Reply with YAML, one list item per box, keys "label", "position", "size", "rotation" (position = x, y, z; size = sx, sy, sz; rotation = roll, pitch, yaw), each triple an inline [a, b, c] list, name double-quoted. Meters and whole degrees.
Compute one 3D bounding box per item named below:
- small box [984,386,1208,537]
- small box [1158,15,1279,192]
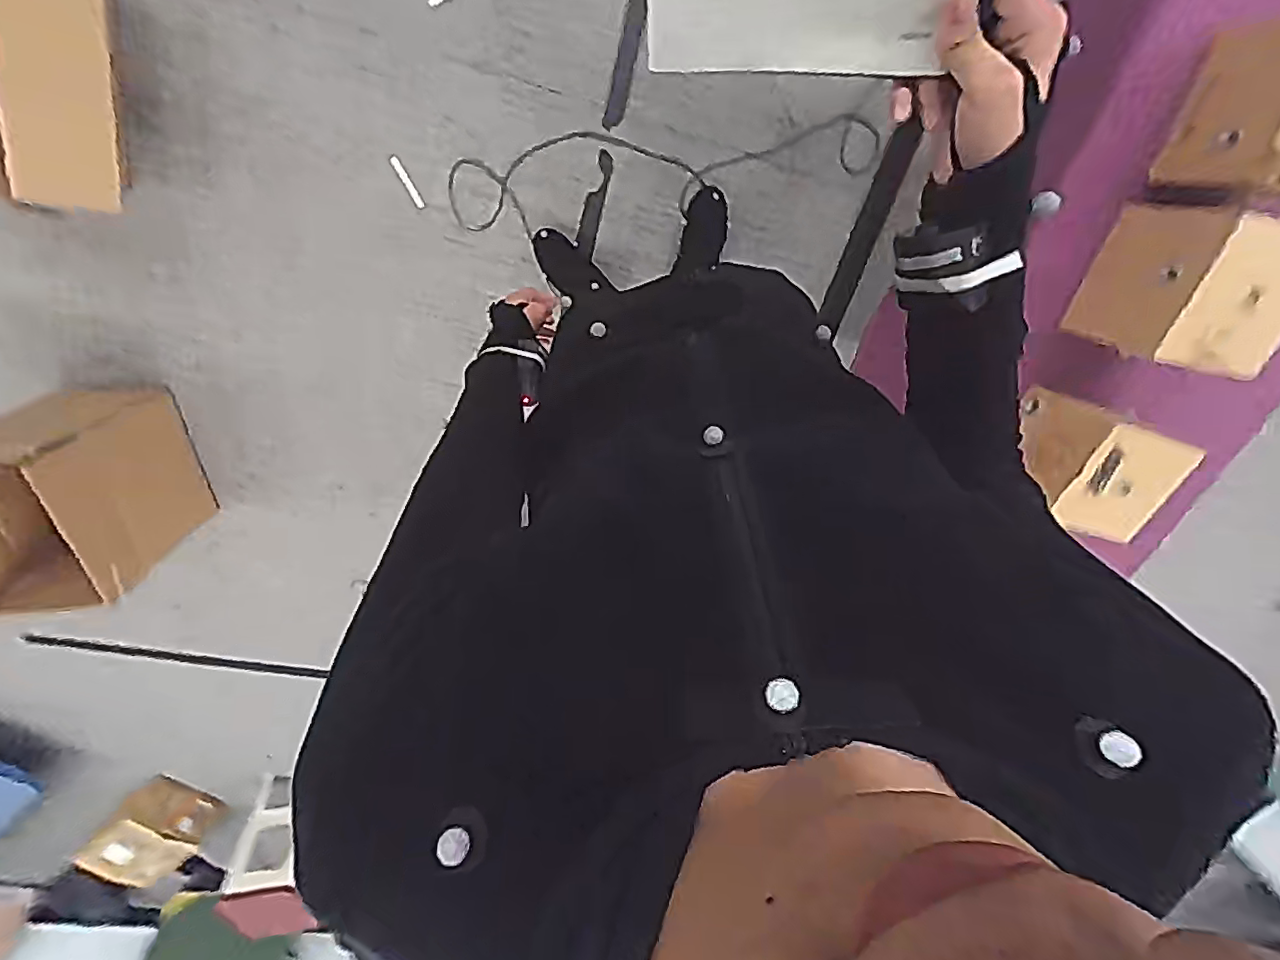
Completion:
- label: "small box"
  position: [0.708, -0.036, 0.866]
  size: [0.179, 0.176, 0.168]
  rotation: [13, 118, -13]
- label: "small box"
  position: [0.798, -0.445, 0.644]
  size: [0.179, 0.176, 0.168]
  rotation: [4, 120, -7]
